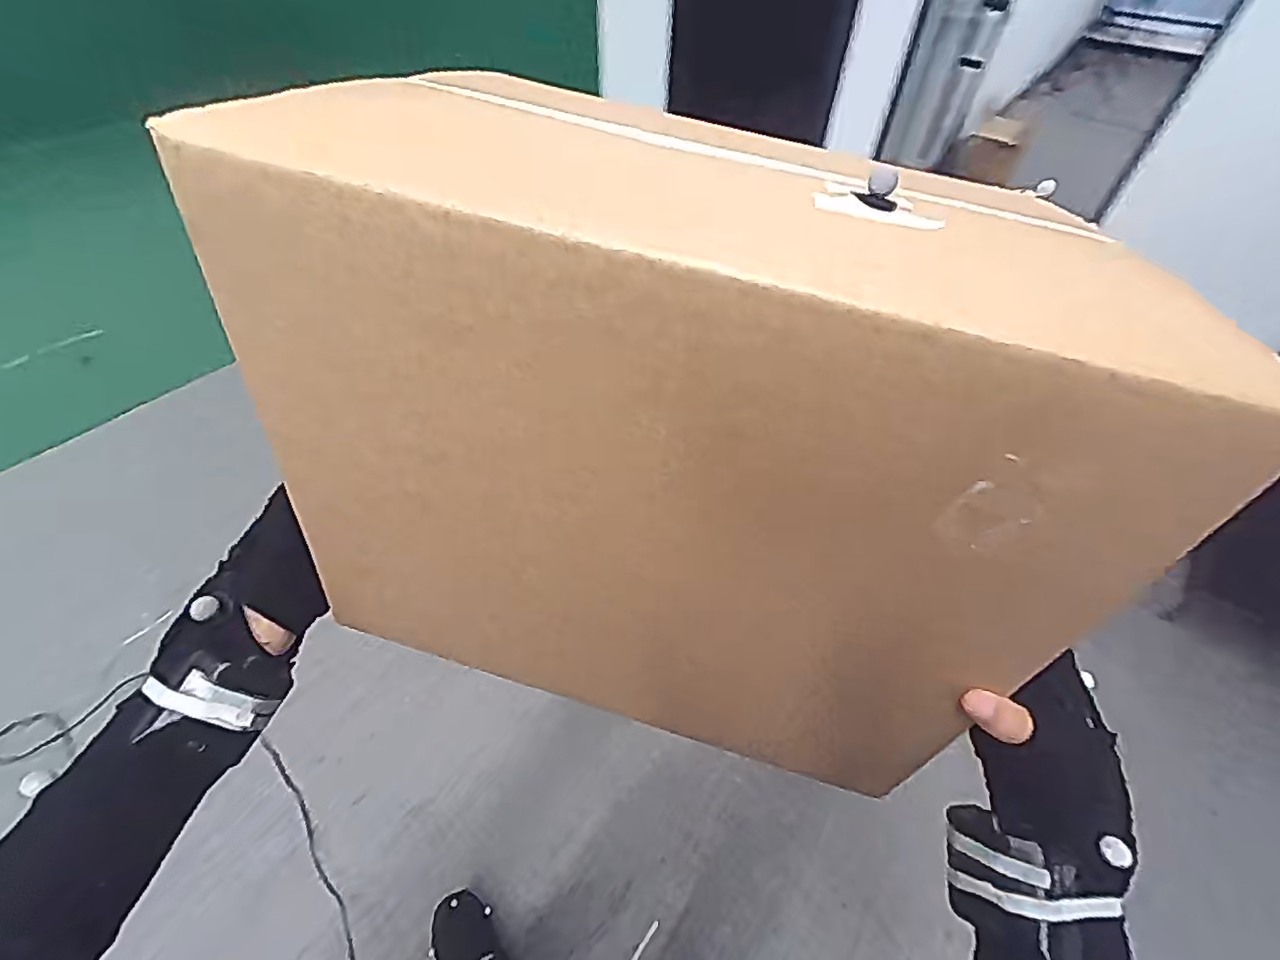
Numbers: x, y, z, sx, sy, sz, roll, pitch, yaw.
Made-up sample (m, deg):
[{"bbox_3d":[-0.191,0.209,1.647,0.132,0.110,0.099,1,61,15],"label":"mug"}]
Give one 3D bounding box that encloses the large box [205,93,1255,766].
[{"bbox_3d":[0.028,-0.052,0.403,0.408,0.320,0.320,16,42,4],"label":"large box"}]
